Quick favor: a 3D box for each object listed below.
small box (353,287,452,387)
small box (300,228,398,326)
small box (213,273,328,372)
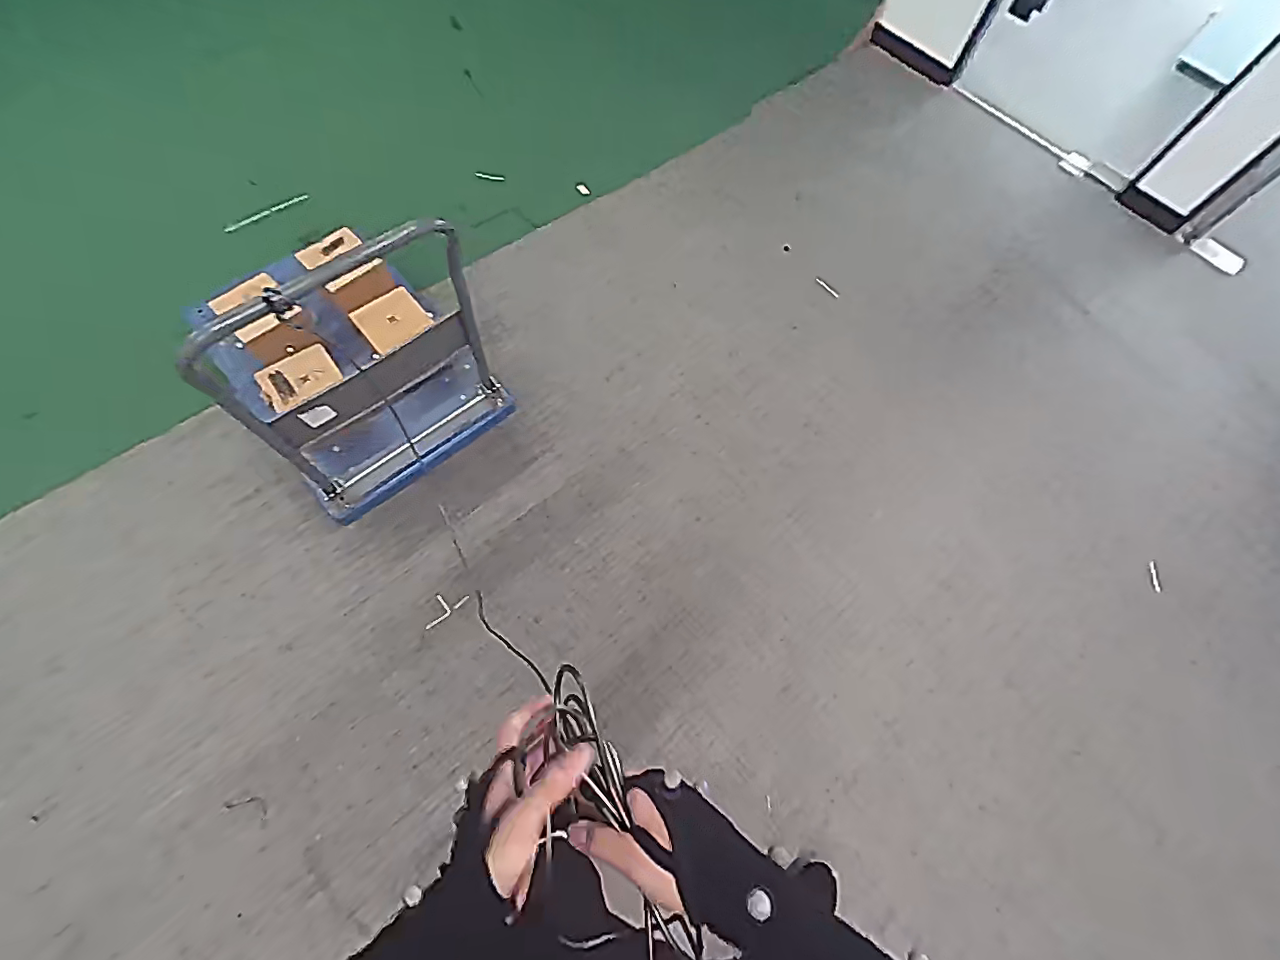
[{"bbox_3d":[-0.658,-0.395,1.515,0.168,0.176,0.179,-37,76,-18],"label":"small box"},{"bbox_3d":[-0.837,-0.587,1.580,0.179,0.176,0.168,44,71,12],"label":"small box"},{"bbox_3d":[-1.012,-0.426,1.498,0.179,0.176,0.168,43,70,13],"label":"small box"}]
